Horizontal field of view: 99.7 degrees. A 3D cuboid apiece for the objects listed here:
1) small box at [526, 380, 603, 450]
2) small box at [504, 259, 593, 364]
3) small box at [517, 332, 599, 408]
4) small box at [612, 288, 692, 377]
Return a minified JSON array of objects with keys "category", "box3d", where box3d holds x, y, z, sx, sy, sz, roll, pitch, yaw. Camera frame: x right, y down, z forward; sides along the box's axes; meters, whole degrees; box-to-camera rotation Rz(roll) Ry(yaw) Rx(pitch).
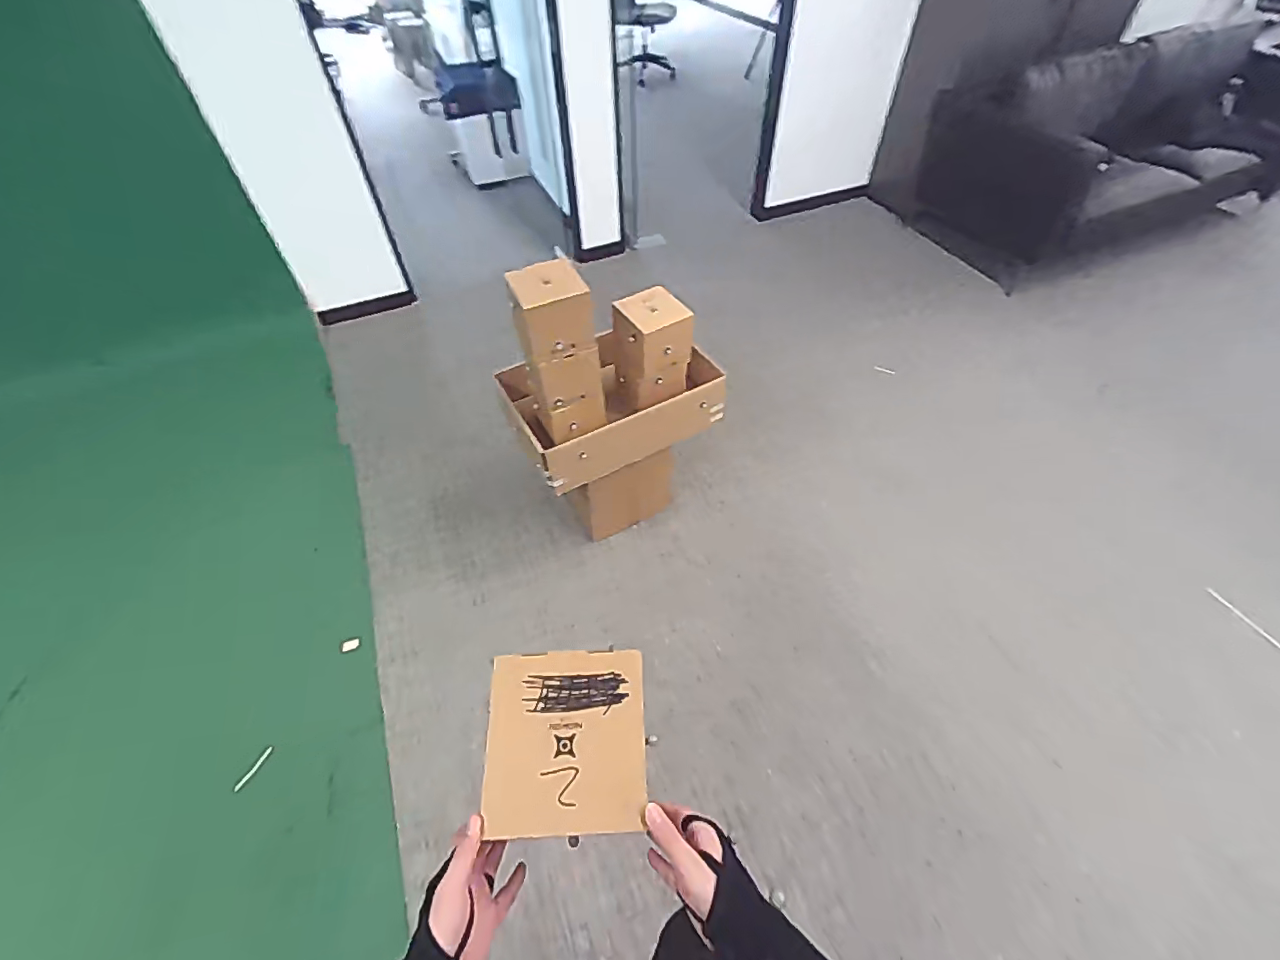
[{"category":"small box","box3d":[-0.219,-0.211,1.610,0.168,0.176,0.179,-25,54,-18]},{"category":"small box","box3d":[-0.227,-0.422,1.360,0.168,0.176,0.179,-20,53,-15]},{"category":"small box","box3d":[-0.220,-0.317,1.484,0.168,0.176,0.179,-21,52,-16]},{"category":"small box","box3d":[0.033,-0.419,1.562,0.168,0.176,0.179,-26,55,-20]}]
